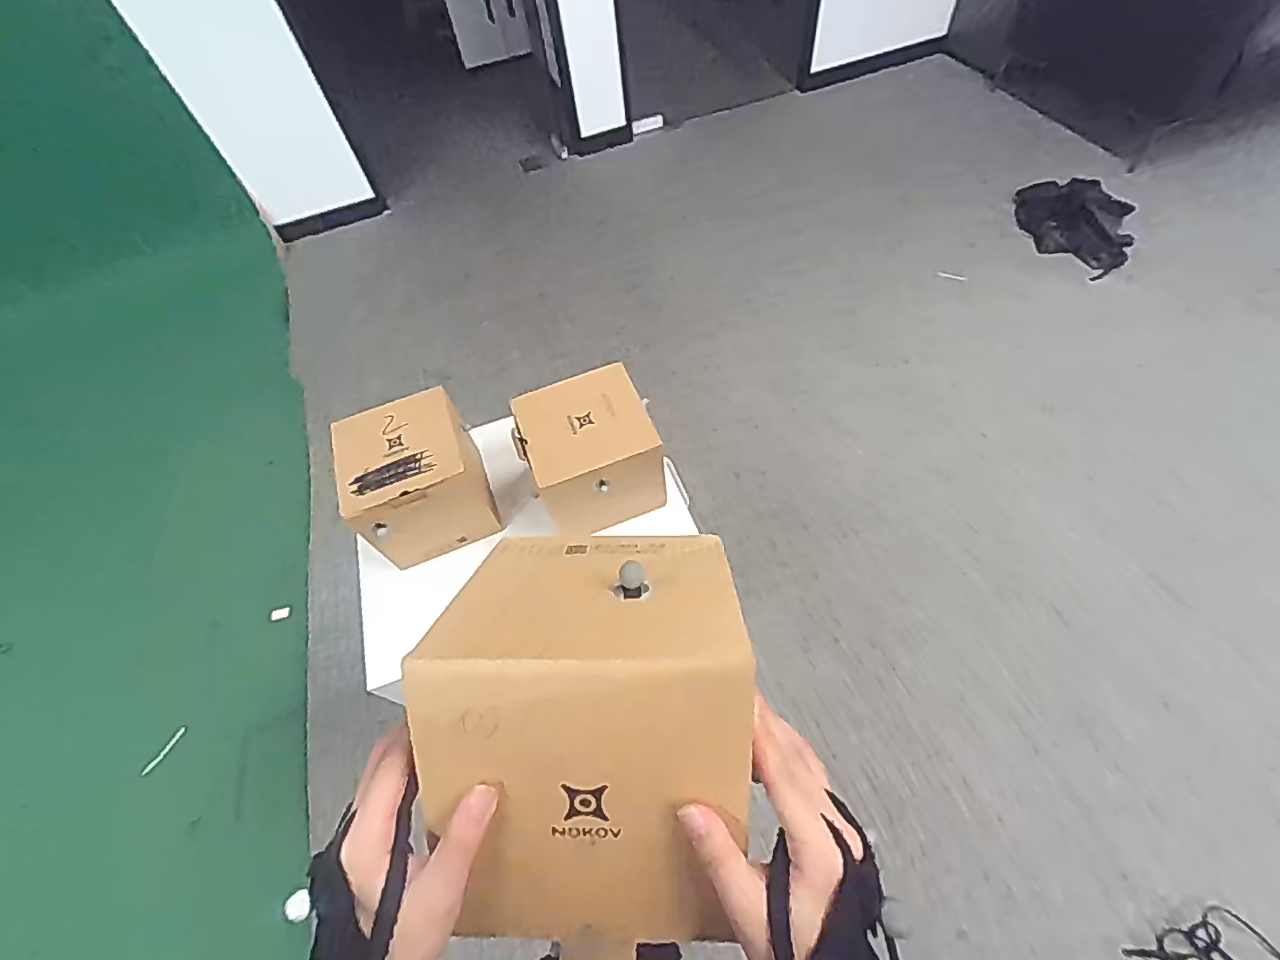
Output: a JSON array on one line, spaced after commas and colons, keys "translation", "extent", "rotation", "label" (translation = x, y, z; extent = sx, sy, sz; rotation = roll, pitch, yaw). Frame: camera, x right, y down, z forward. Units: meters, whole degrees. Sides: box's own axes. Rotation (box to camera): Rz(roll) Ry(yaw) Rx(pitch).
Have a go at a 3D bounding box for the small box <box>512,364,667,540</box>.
[{"translation": [-0.069, -0.035, 0.805], "extent": [0.179, 0.176, 0.168], "rotation": [-20, 59, -7], "label": "small box"}]
